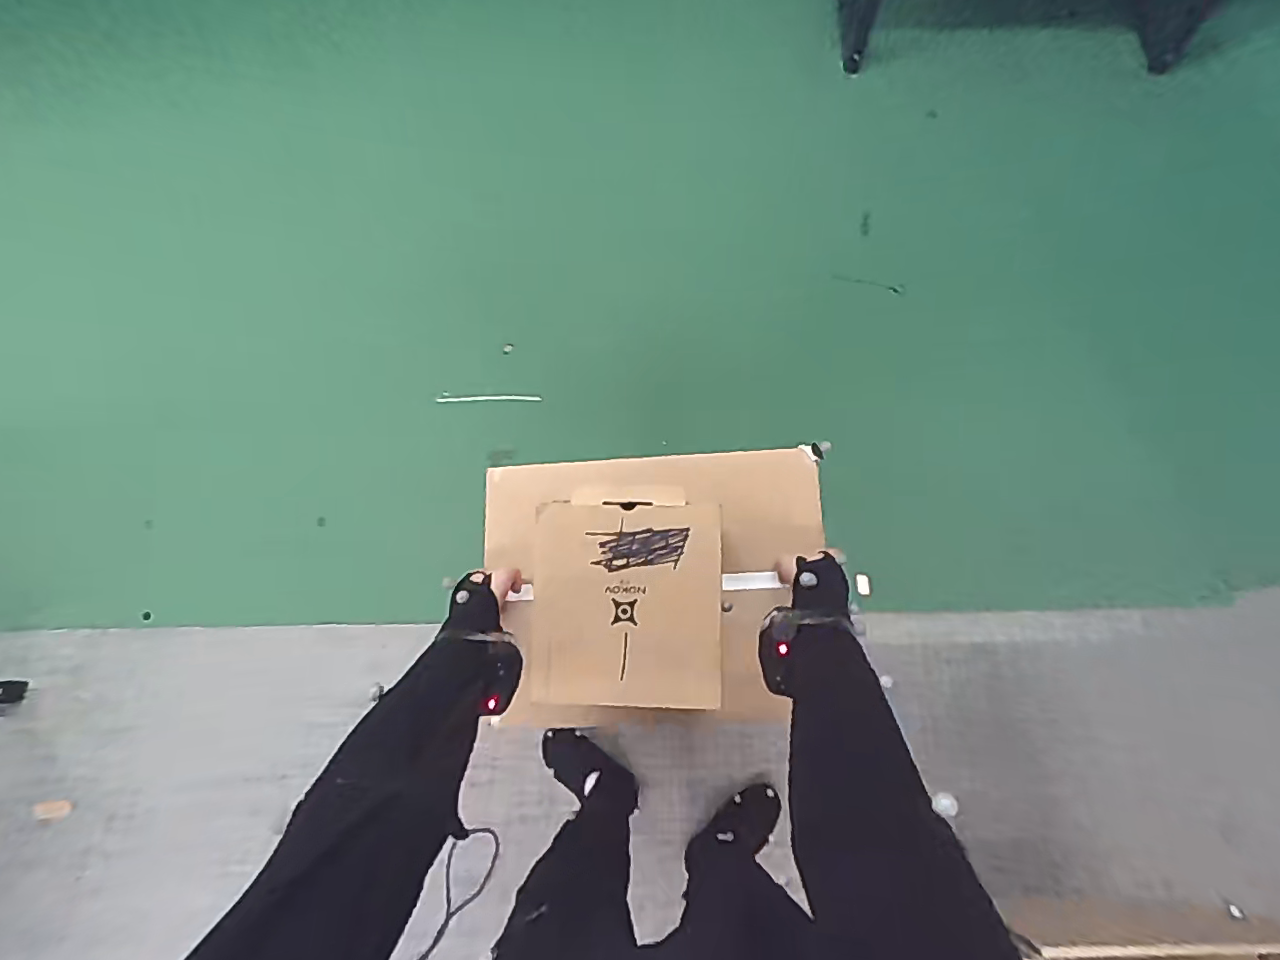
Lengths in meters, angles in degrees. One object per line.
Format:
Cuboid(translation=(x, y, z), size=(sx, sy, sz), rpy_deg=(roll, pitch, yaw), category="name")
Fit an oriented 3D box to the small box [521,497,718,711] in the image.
Cuboid(translation=(-0.011, 0.113, 0.538), size=(0.168, 0.176, 0.179), rpy_deg=(0, 83, 5), category="small box")
